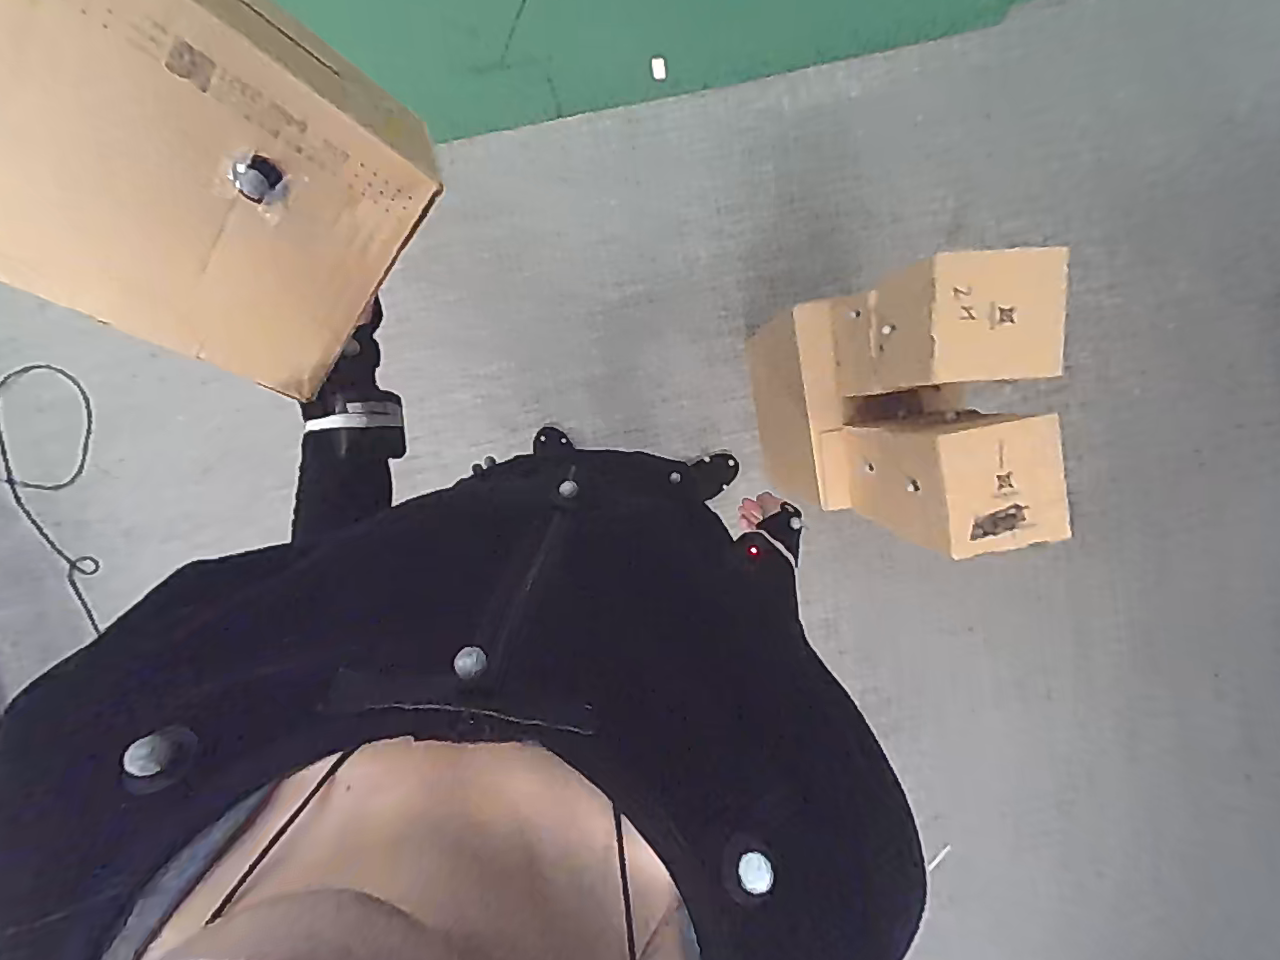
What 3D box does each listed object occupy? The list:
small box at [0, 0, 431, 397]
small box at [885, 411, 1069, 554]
[{"bbox_3d":[-0.246,-0.190,0.328,0.168,0.179,0.176,26,116,-40],"label":"small box"},{"bbox_3d":[0.489,-0.005,0.806,0.168,0.176,0.179,-10,96,1],"label":"small box"}]
